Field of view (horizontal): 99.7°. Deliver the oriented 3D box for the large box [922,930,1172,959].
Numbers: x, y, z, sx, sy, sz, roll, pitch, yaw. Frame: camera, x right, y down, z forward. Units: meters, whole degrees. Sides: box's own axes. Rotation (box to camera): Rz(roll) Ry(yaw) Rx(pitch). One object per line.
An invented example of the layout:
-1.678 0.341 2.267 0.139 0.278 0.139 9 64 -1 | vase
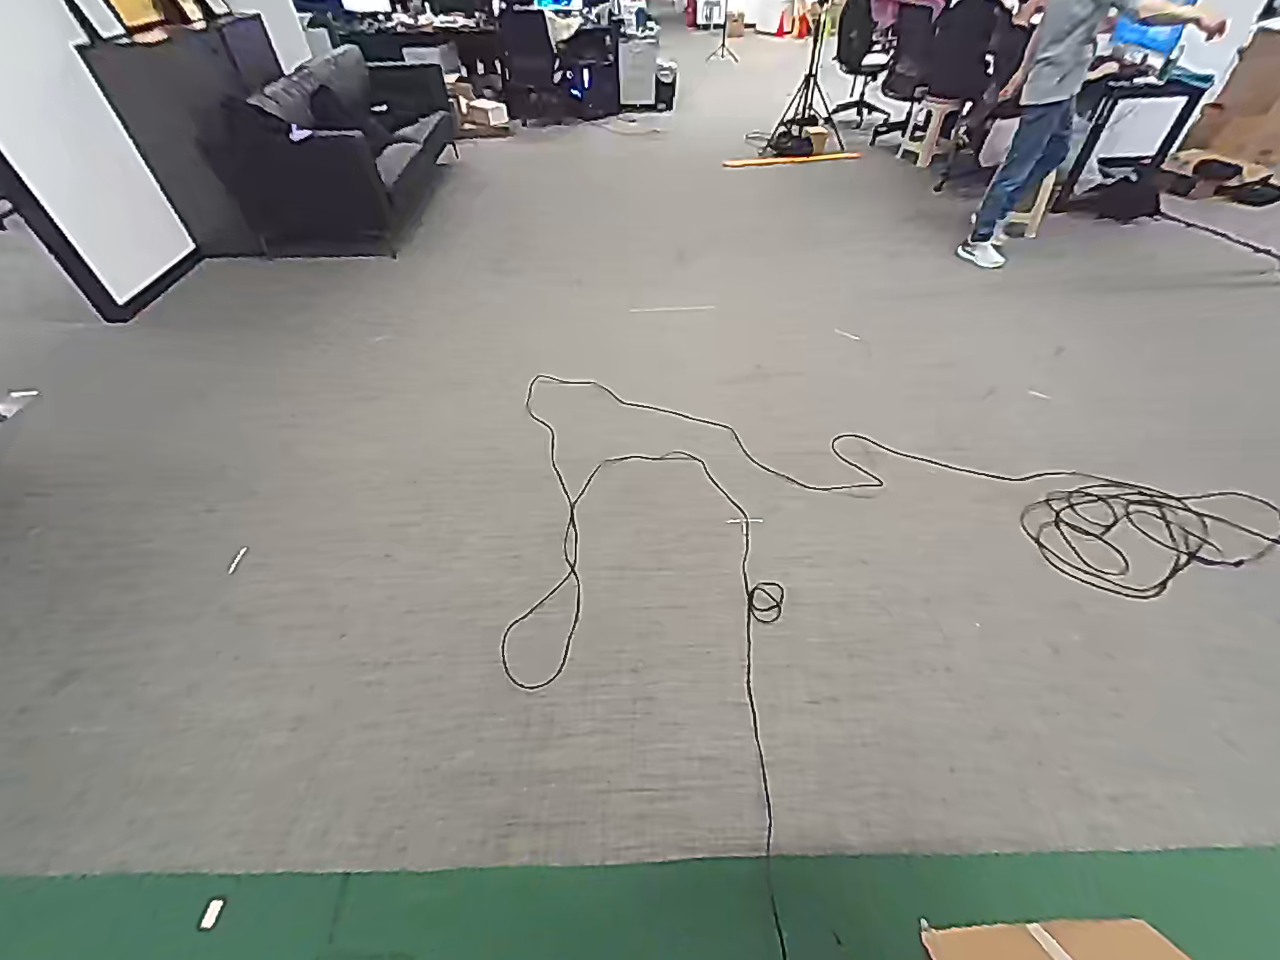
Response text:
0.563 0.783 0.563 0.320 0.408 0.320 -6 82 4 | large box
